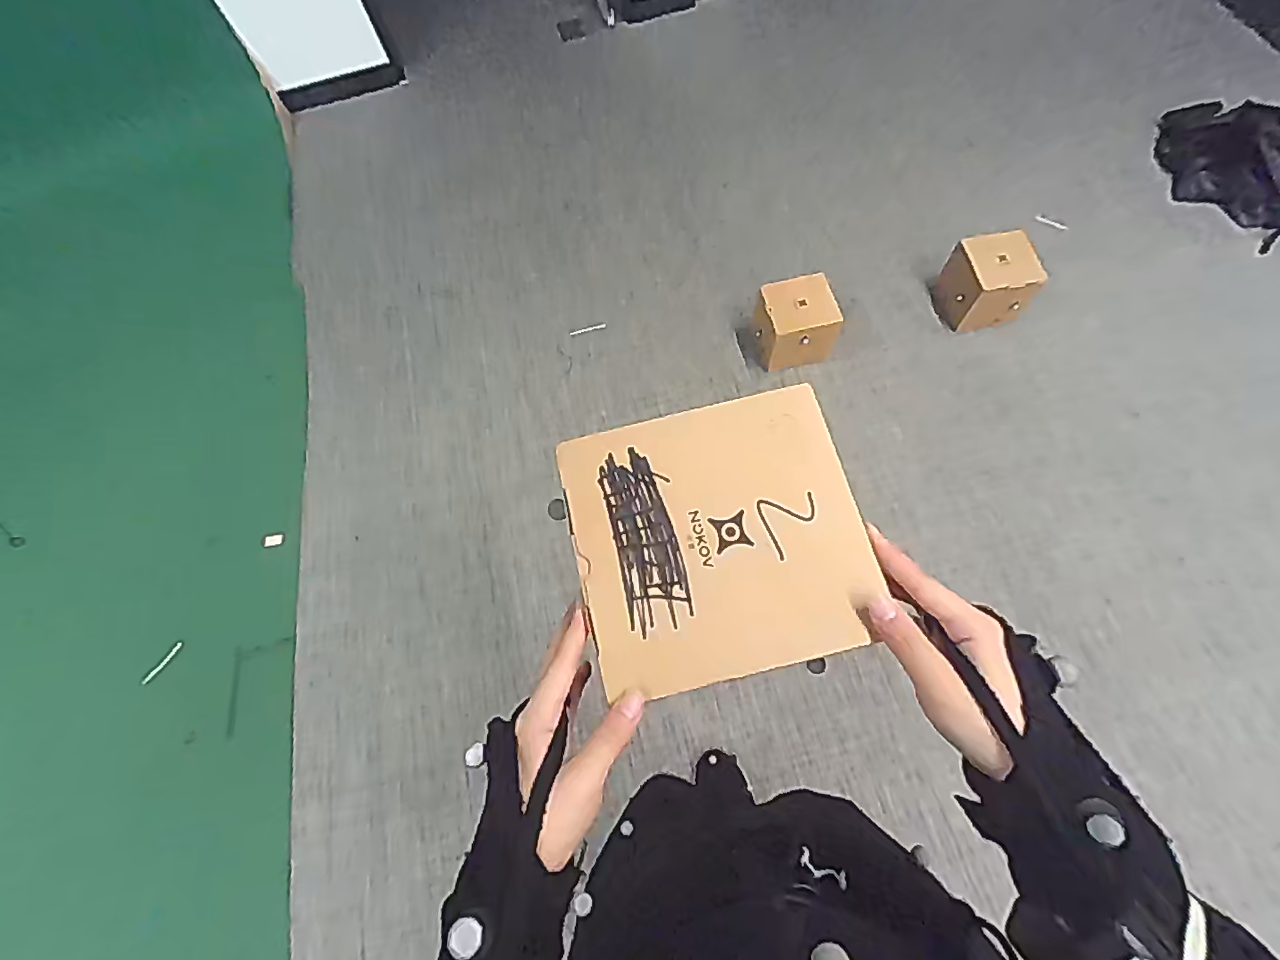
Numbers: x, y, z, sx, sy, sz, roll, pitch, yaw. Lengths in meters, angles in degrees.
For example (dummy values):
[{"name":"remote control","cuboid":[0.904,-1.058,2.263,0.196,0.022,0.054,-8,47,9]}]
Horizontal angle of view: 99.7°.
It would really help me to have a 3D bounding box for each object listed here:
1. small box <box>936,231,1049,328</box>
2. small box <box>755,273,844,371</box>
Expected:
[{"name":"small box","cuboid":[0.932,-0.526,1.447,0.168,0.176,0.179,-8,66,1]},{"name":"small box","cuboid":[0.420,-0.419,1.454,0.179,0.176,0.168,-12,67,1]}]
